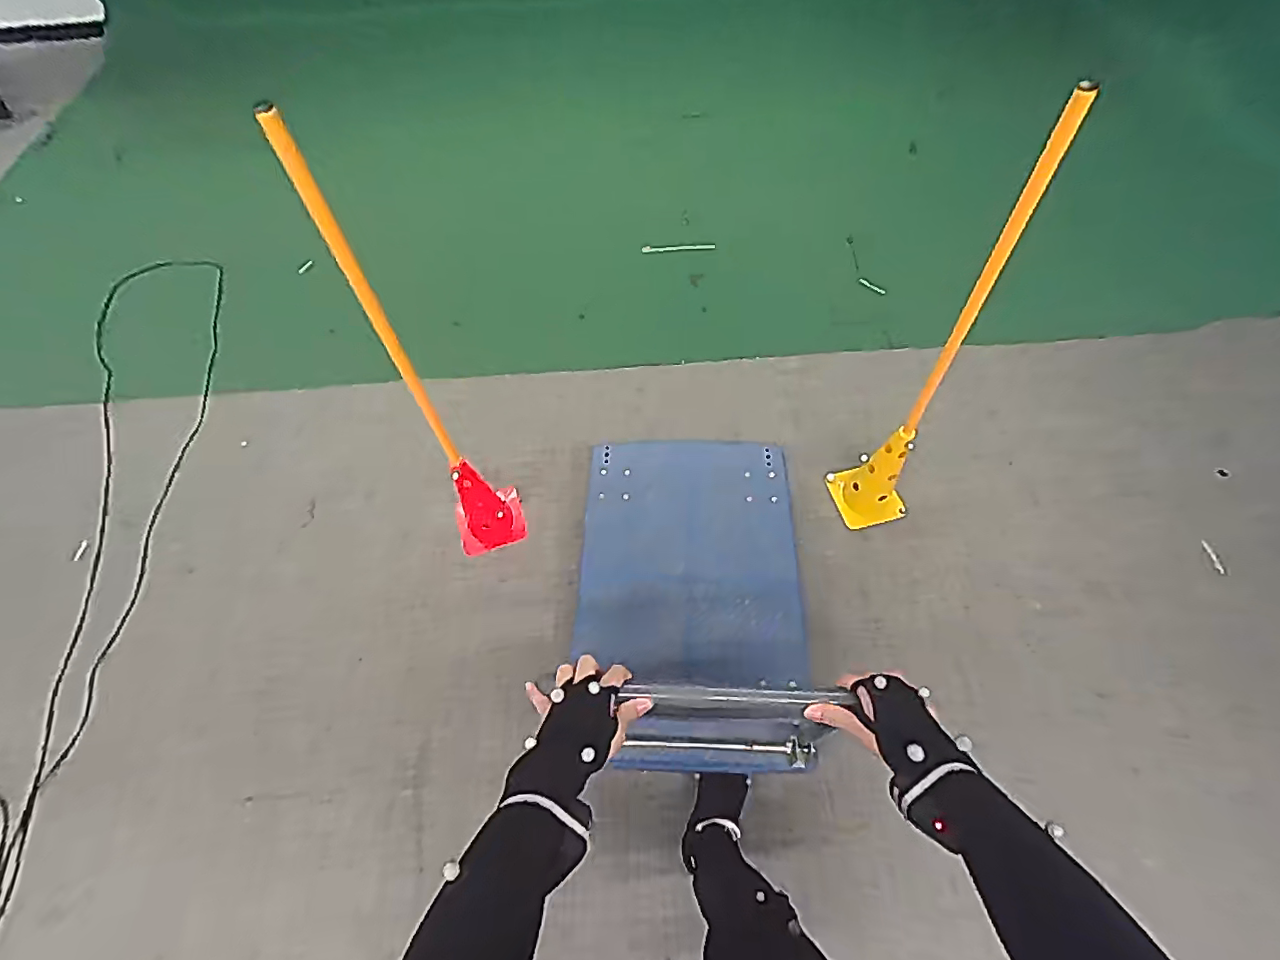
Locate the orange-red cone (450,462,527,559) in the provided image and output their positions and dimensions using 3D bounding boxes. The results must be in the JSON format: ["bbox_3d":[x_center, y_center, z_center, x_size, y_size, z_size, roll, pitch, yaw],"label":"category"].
[{"bbox_3d":[-0.472,0.058,1.558,0.199,0.360,0.198,-17,60,-6],"label":"orange-red cone"}]
